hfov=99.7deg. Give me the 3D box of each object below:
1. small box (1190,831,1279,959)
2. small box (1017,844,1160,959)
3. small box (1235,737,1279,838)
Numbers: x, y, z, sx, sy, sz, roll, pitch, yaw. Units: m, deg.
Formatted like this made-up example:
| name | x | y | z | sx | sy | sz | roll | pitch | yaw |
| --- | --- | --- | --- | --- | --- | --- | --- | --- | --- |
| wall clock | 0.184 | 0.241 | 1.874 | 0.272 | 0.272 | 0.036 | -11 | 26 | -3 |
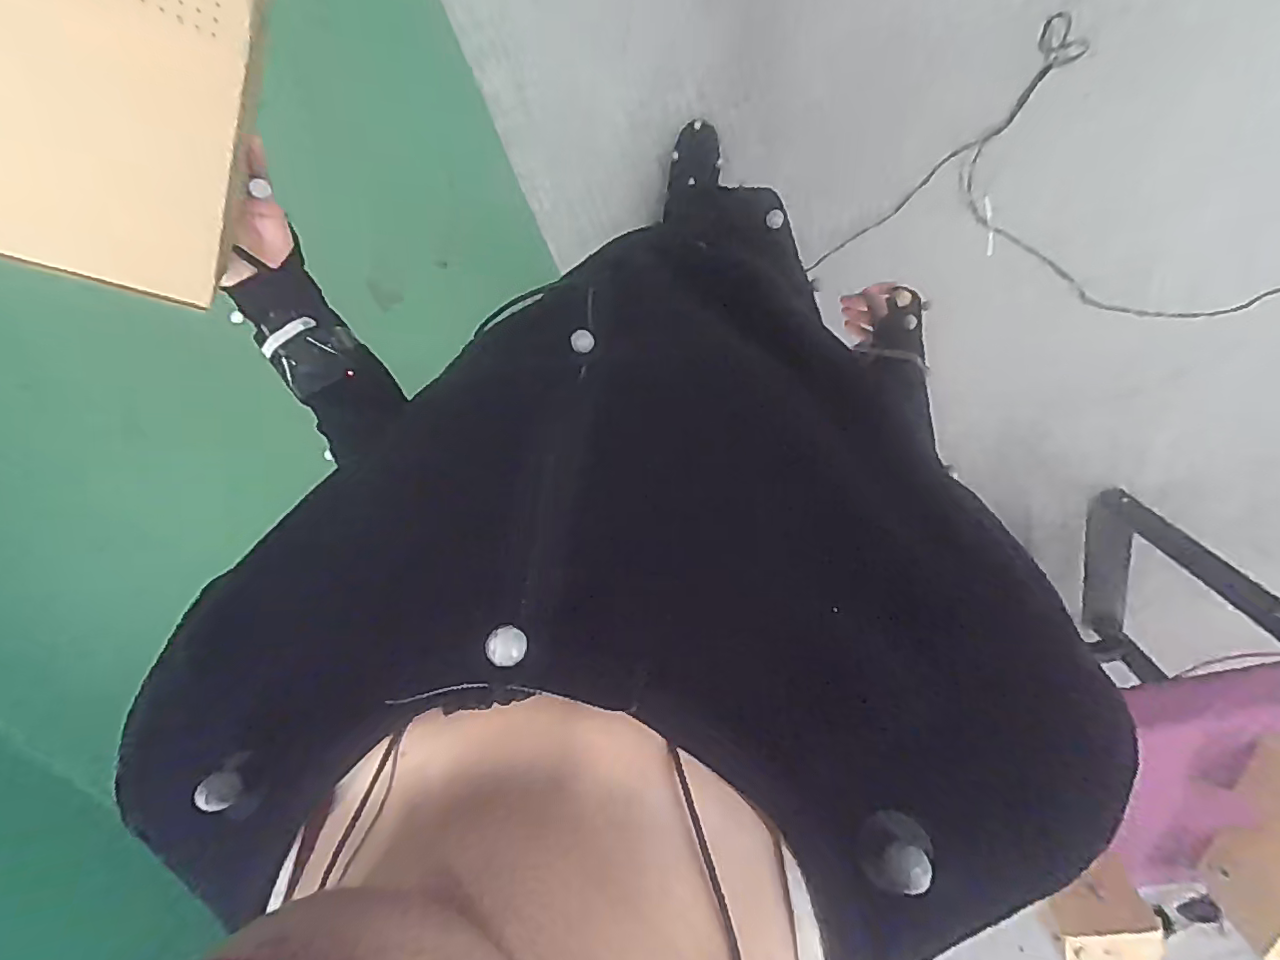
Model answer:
| name | x | y | z | sx | sy | sz | roll | pitch | yaw |
| --- | --- | --- | --- | --- | --- | --- | --- | --- | --- |
| small box | 1.319 | 0.853 | 1.112 | 0.179 | 0.176 | 0.168 | -4 | 117 | 7 |
| small box | 0.961 | 0.924 | 1.172 | 0.179 | 0.176 | 0.168 | -17 | 115 | 11 |
| small box | 1.243 | 0.579 | 0.965 | 0.168 | 0.176 | 0.179 | -8 | 118 | 8 |
